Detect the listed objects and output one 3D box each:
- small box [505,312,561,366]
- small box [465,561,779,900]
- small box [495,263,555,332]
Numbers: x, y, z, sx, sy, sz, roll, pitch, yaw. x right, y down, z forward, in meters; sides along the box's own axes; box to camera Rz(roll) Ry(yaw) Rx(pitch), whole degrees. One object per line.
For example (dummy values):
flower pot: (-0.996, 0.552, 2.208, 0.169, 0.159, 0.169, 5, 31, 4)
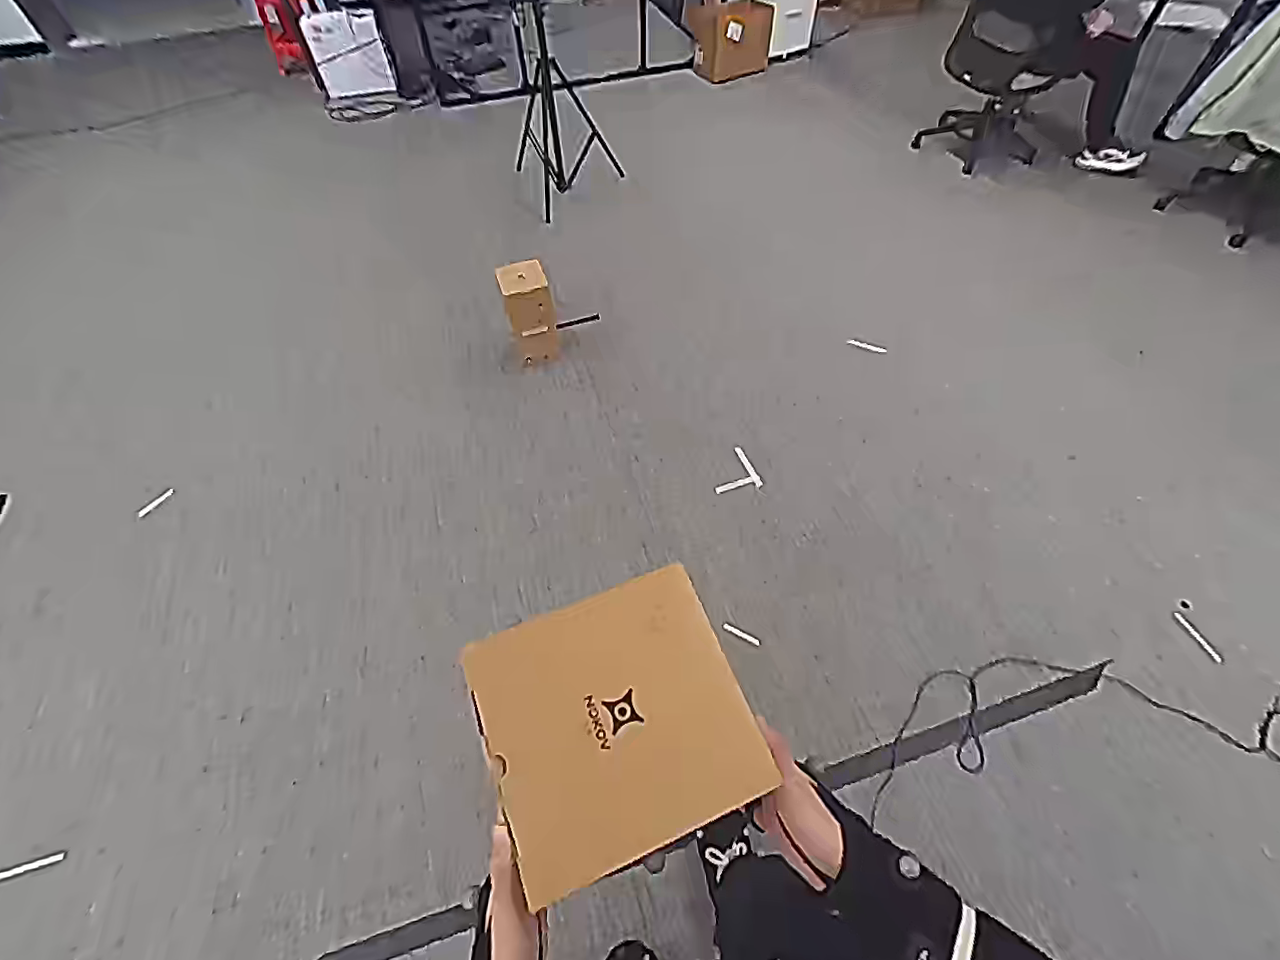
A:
small box: (-0.418, -0.573, 2.134, 0.168, 0.176, 0.179, -18, 55, -10)
small box: (-0.021, 0.190, 0.442, 0.179, 0.176, 0.168, -20, 67, -12)
small box: (-0.421, -0.668, 2.003, 0.168, 0.176, 0.179, -18, 55, -11)
